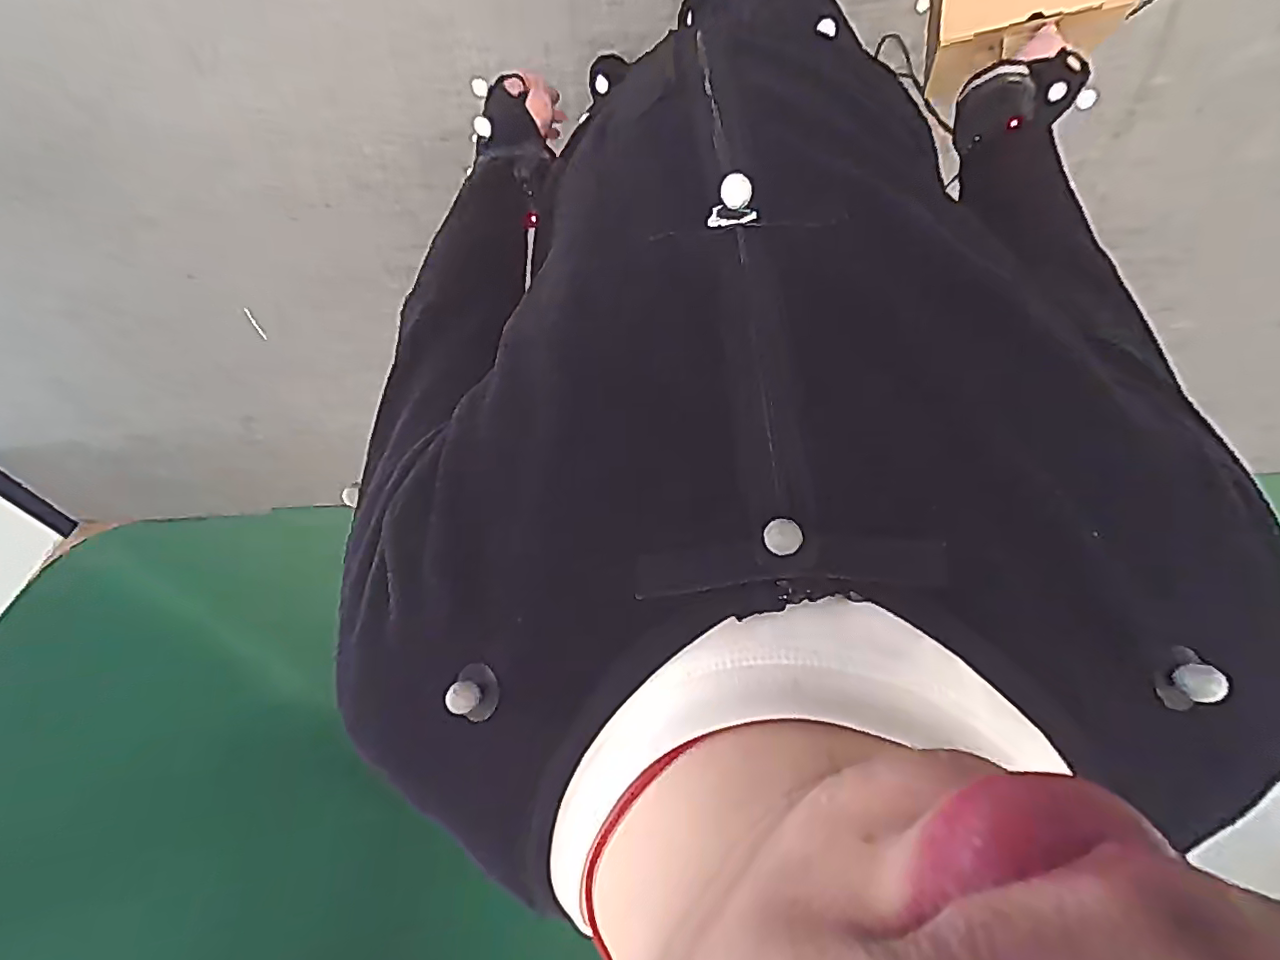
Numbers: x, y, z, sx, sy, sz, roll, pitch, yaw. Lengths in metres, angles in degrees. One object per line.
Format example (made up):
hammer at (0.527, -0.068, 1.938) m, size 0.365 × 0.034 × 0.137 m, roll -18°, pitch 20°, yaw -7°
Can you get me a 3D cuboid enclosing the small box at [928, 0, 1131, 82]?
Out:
small box at (0.404, -0.548, 0.563) m, size 0.168 × 0.176 × 0.179 m, roll 4°, pitch 109°, yaw 22°
